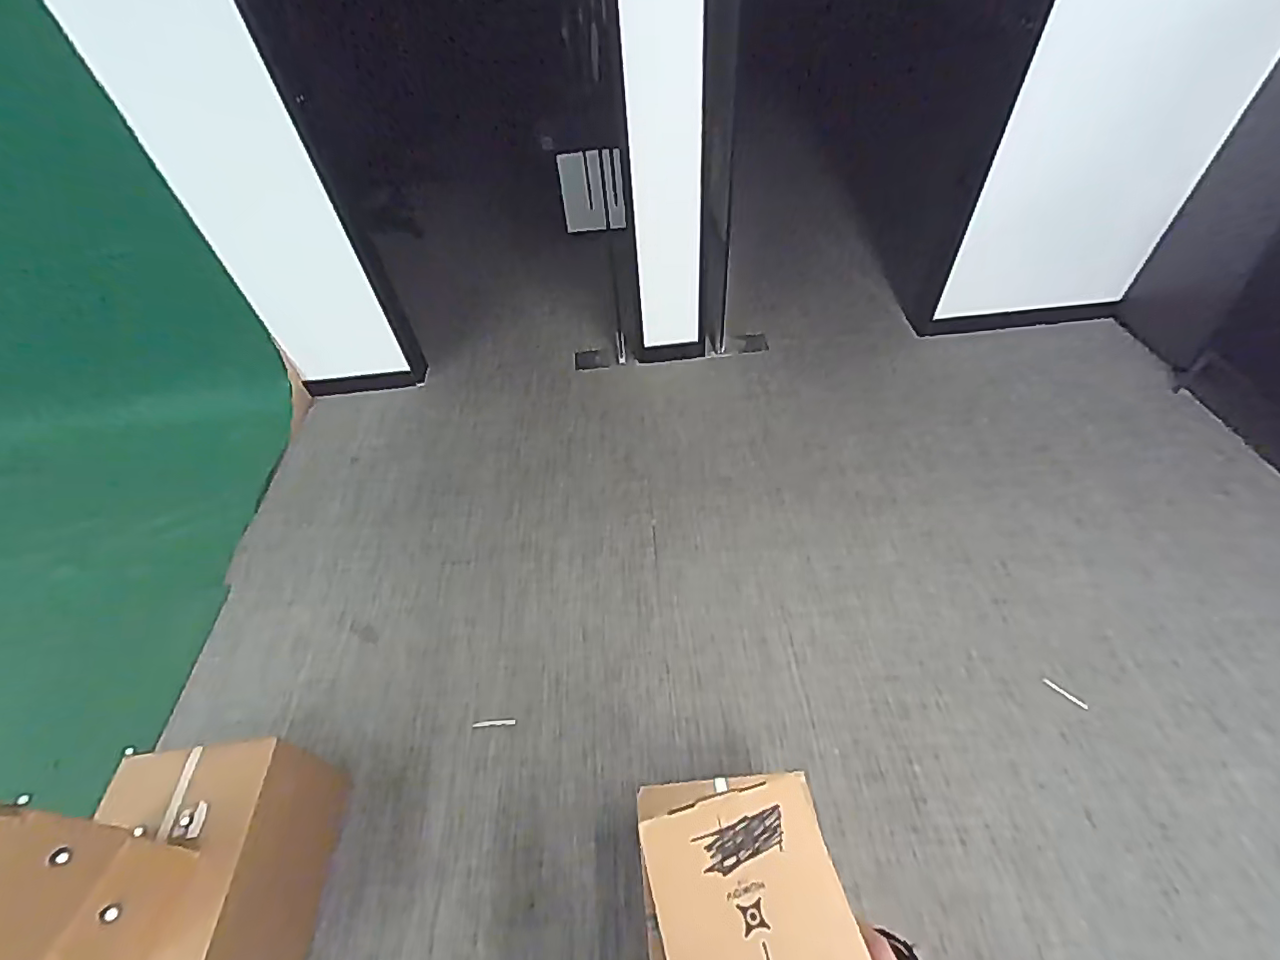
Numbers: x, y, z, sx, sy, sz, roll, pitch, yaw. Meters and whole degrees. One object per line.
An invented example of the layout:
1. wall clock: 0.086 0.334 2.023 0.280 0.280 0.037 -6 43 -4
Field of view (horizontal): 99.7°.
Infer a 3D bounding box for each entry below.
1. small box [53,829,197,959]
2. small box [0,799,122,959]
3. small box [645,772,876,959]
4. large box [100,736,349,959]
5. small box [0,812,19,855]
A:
1. small box: -0.862 0.663 0.854 0.168 0.176 0.179 1 50 7
2. small box: -0.880 0.551 0.738 0.168 0.176 0.179 3 51 10
3. small box: 0.108 0.423 0.535 0.168 0.176 0.179 -15 50 -5
4. large box: -0.842 0.782 1.071 0.320 0.320 0.408 -7 48 0
5. small box: -0.902 0.448 0.611 0.179 0.176 0.168 4 50 10
